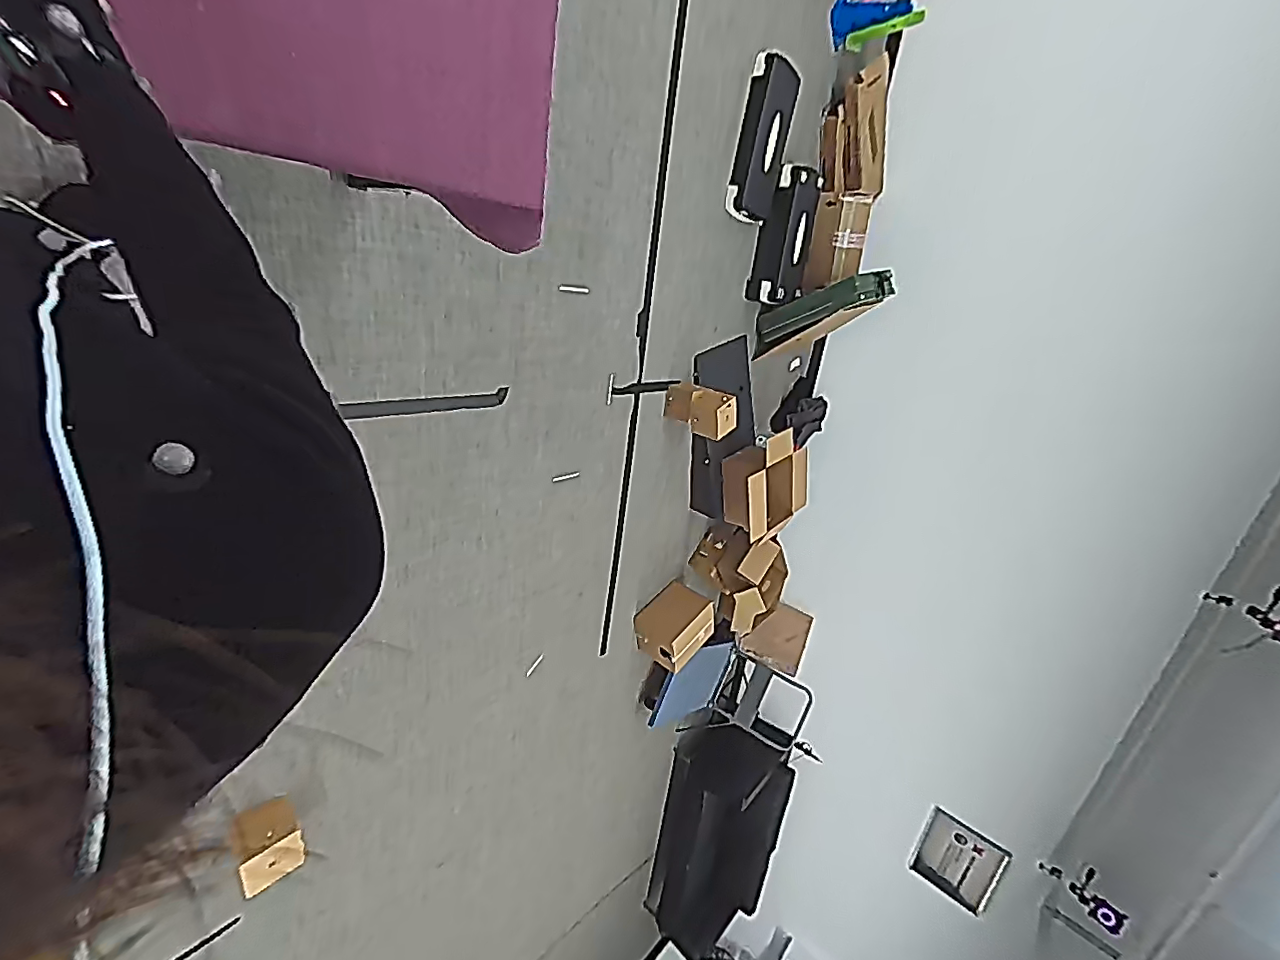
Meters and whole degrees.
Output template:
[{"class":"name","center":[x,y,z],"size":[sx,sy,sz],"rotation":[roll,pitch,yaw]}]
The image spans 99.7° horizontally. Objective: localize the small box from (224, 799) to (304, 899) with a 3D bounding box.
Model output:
[{"class":"small box","center":[-1.259,1.224,1.805],"size":[0.179,0.176,0.168],"rotation":[-20,124,-48]}]
